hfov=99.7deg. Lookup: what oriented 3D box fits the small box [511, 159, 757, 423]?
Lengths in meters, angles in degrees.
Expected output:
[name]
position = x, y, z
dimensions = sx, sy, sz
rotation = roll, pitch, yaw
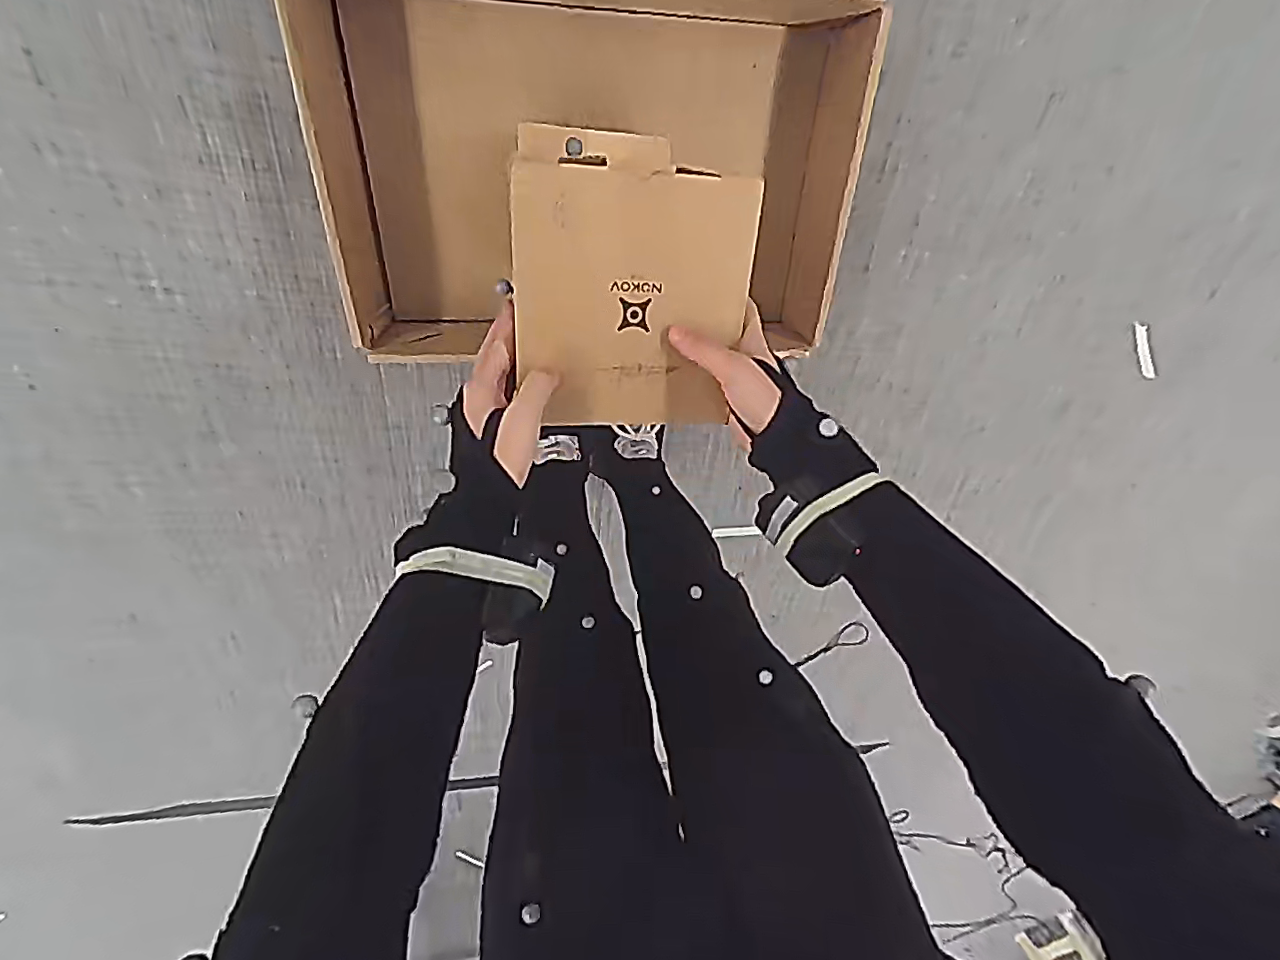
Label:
[small box]
position = -0.022, -0.160, 0.453
dimensions = 0.168, 0.176, 0.179
rotation = -2, 120, -12
